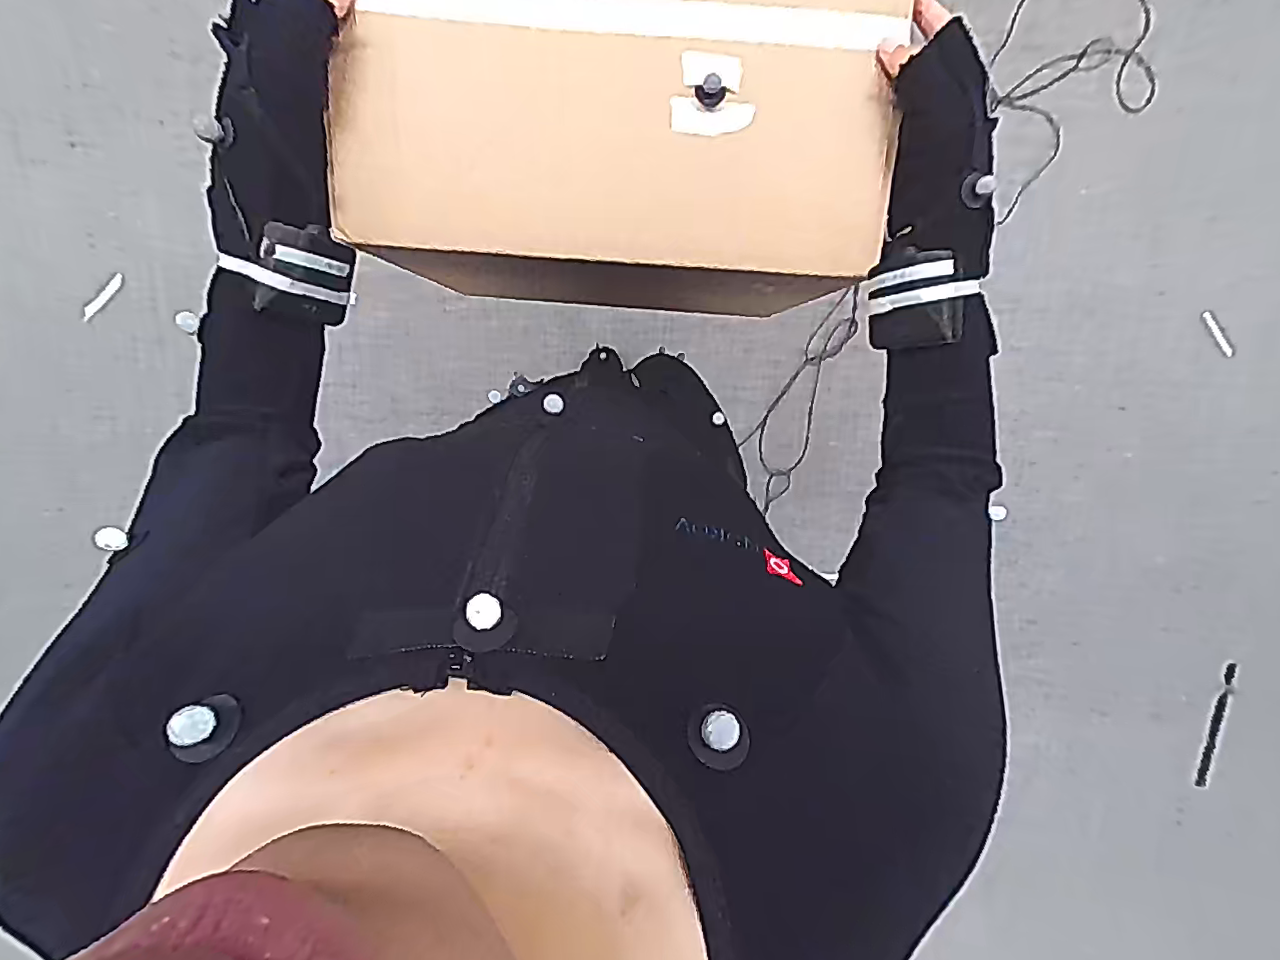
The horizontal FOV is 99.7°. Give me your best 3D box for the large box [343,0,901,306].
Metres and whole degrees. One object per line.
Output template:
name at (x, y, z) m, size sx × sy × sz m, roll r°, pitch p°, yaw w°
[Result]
large box at (-0.017, -0.357, 0.533) m, size 0.408 × 0.320 × 0.320 m, roll 3°, pitch 102°, yaw -2°
